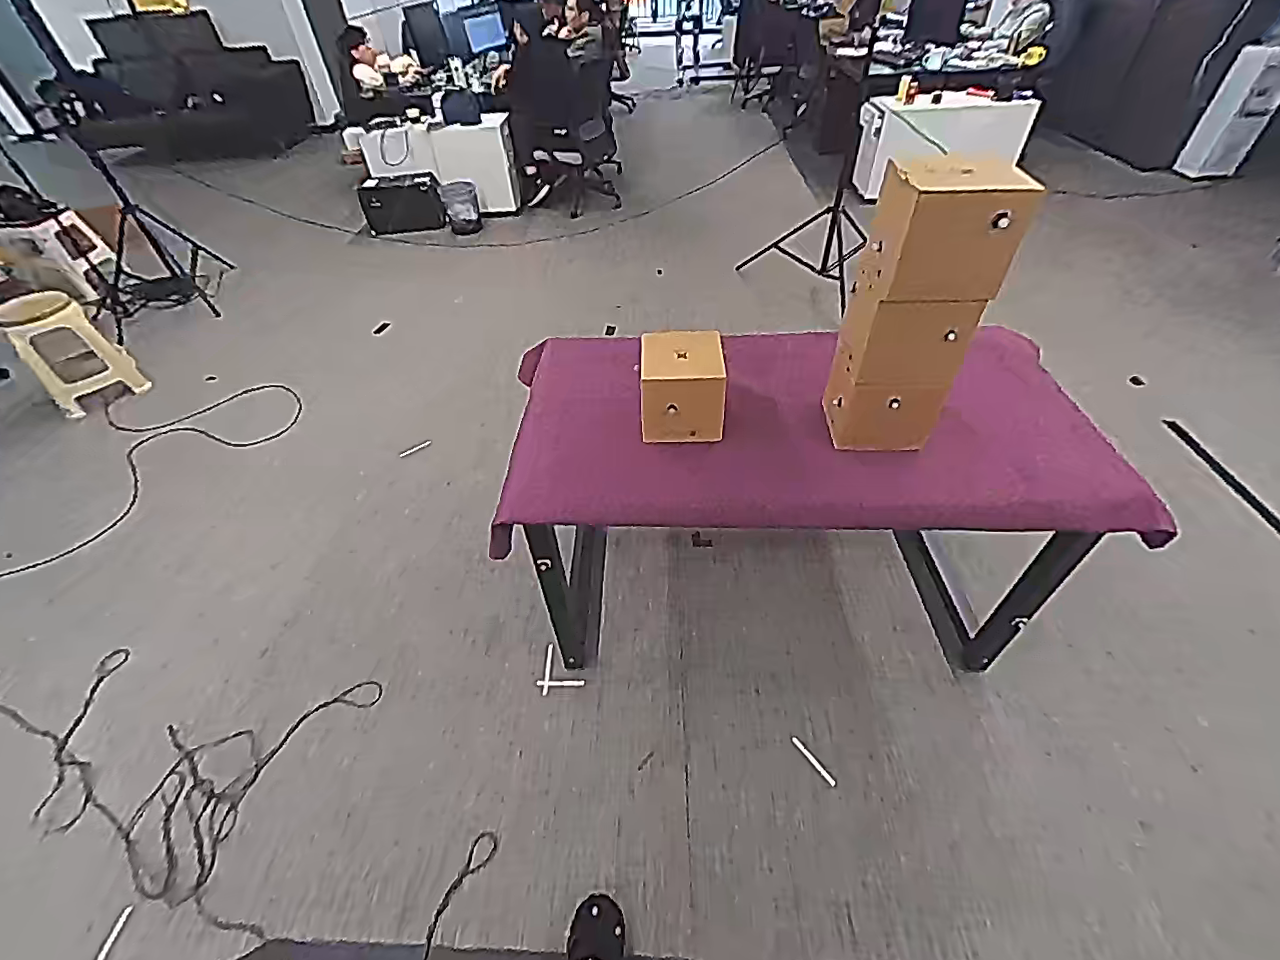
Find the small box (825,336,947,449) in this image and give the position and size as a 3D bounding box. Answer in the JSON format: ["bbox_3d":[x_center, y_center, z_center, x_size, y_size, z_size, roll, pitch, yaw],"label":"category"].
[{"bbox_3d":[0.486,-0.176,1.106,0.179,0.176,0.168,1,46,4],"label":"small box"}]

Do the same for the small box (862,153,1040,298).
[{"bbox_3d":[0.481,-0.406,0.869,0.179,0.176,0.168,0,45,4],"label":"small box"}]

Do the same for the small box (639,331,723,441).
[{"bbox_3d":[0.086,-0.195,1.150,0.168,0.176,0.179,-2,44,2],"label":"small box"}]
